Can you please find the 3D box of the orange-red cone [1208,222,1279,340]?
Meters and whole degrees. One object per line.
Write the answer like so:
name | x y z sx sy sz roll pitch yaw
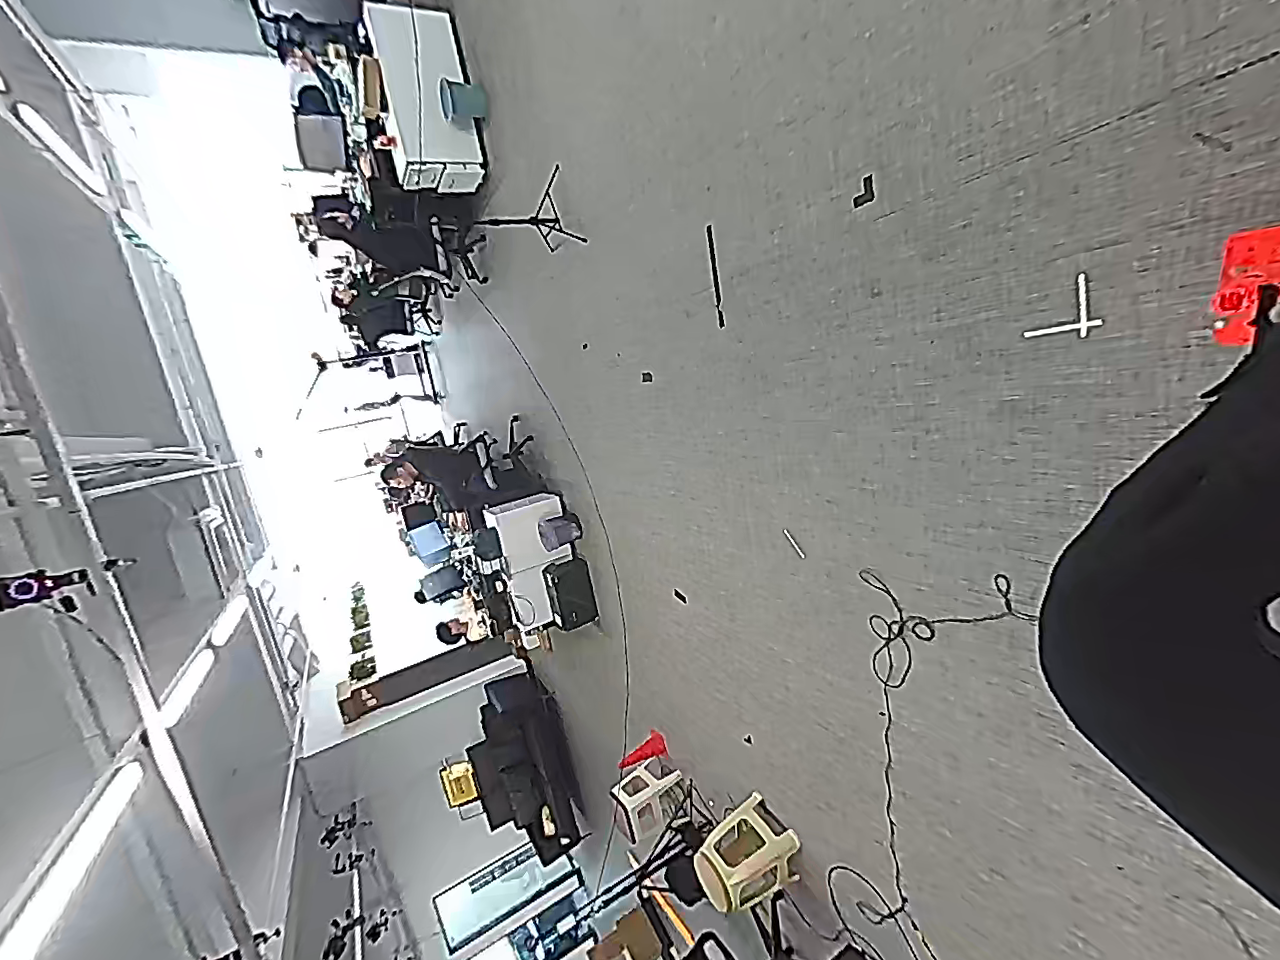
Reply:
orange-red cone | 0.972 -0.302 0.838 0.199 0.360 0.198 19 120 60
